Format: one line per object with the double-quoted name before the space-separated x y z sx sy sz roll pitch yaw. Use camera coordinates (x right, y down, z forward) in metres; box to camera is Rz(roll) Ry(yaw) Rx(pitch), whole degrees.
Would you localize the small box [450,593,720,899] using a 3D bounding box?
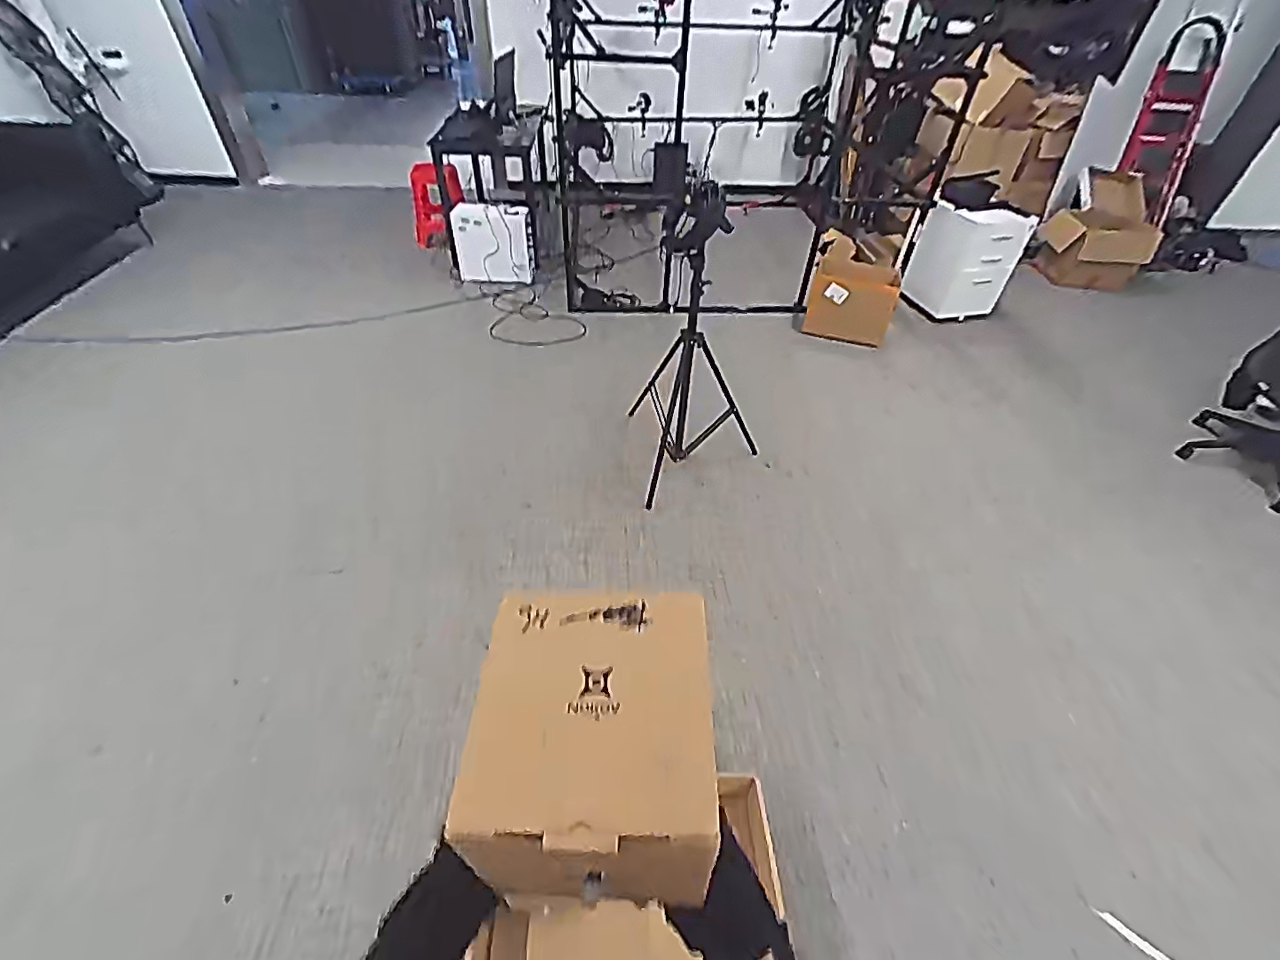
"small box" -0.027 0.211 0.430 0.168 0.176 0.179 0 42 2
